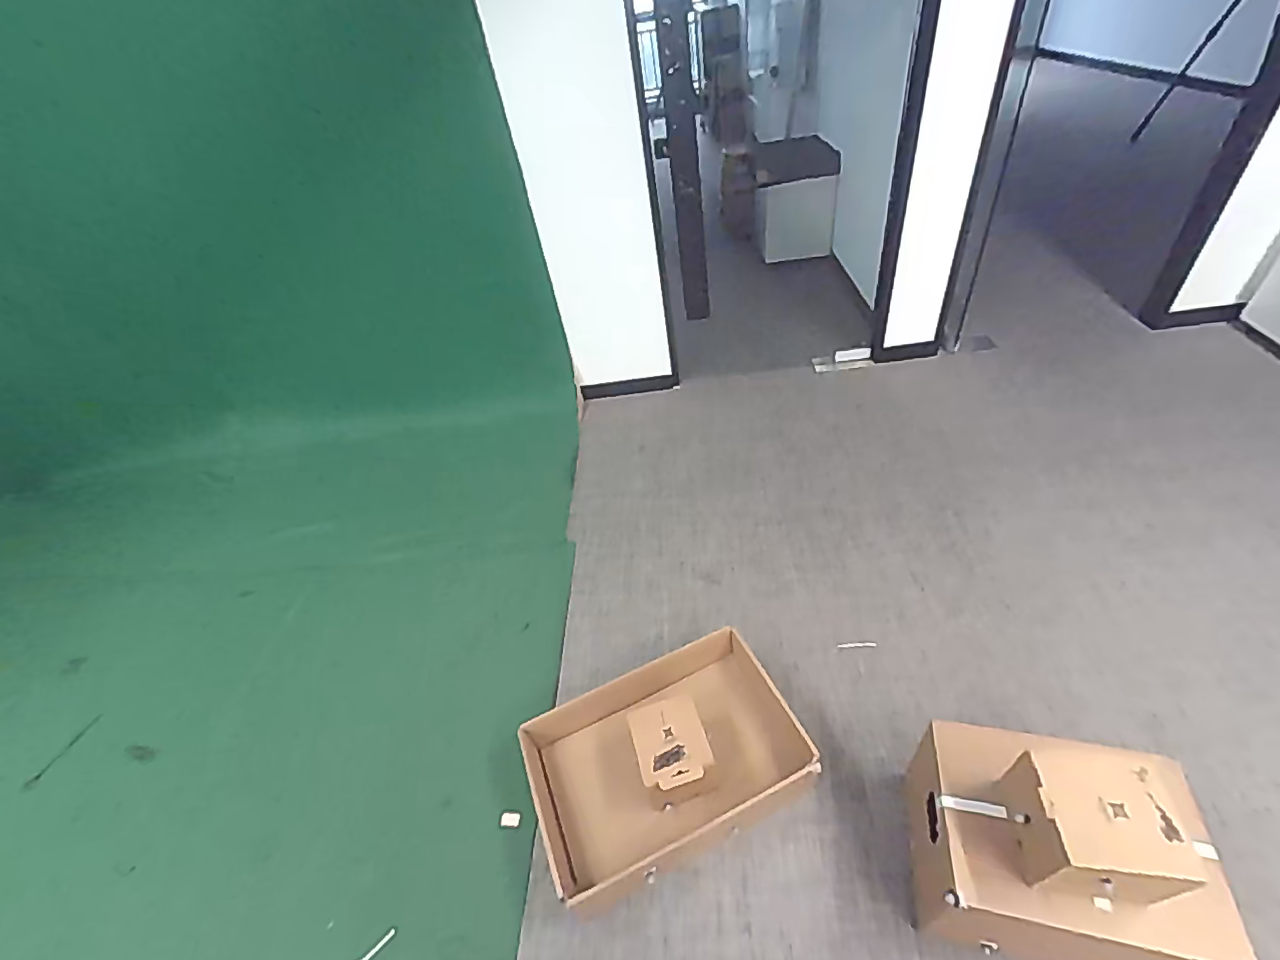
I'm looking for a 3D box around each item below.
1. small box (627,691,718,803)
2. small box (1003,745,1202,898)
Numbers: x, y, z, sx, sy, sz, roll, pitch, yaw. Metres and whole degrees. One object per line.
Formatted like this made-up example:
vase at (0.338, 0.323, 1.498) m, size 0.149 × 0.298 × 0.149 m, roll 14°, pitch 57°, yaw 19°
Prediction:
small box at (0.080, 0.648, 1.300) m, size 0.168 × 0.176 × 0.179 m, roll -17°, pitch 41°, yaw -5°
small box at (0.717, 0.551, 0.872) m, size 0.179 × 0.176 × 0.168 m, roll -1°, pitch 44°, yaw 12°
